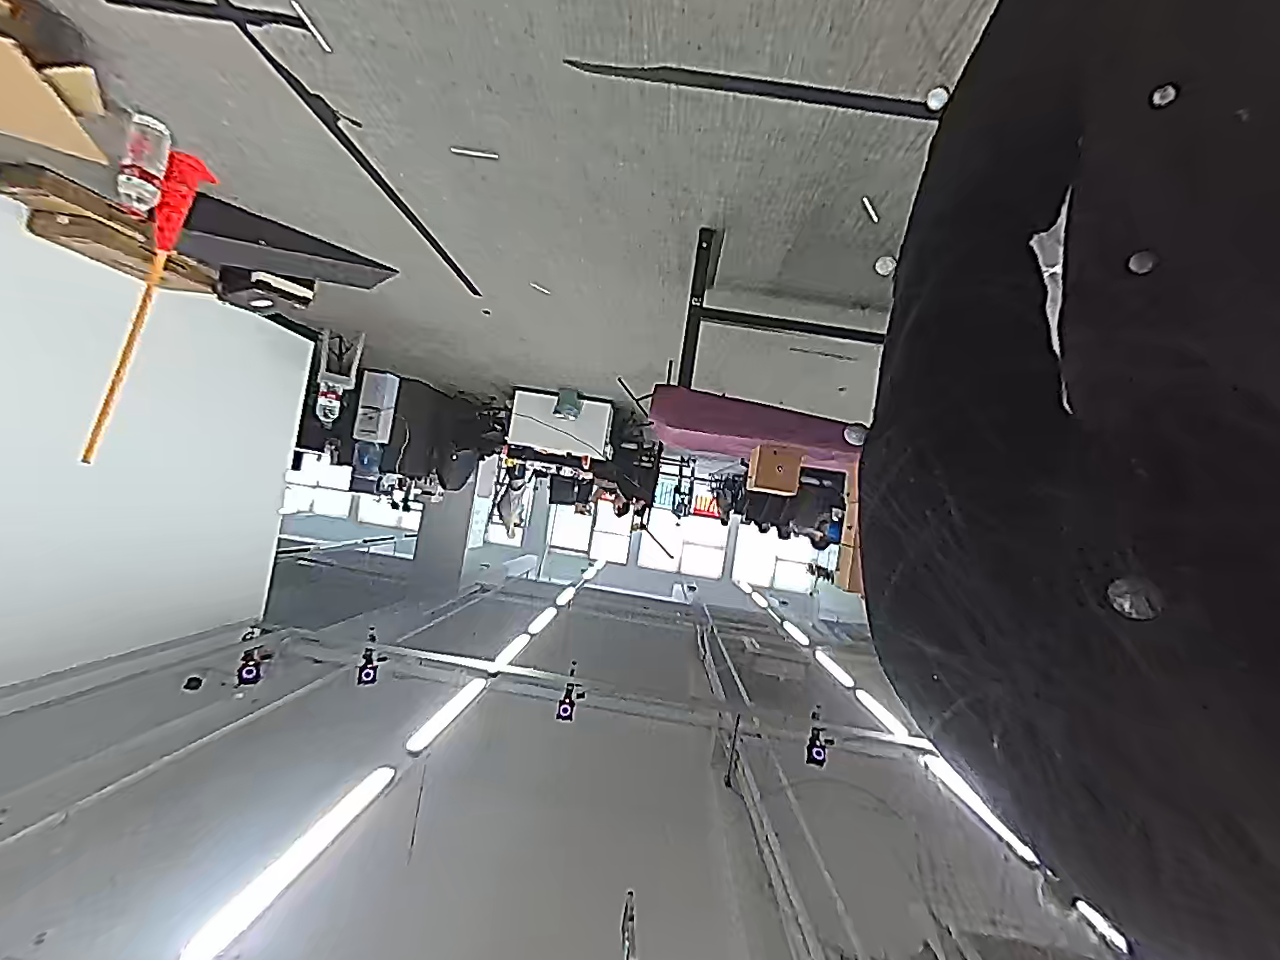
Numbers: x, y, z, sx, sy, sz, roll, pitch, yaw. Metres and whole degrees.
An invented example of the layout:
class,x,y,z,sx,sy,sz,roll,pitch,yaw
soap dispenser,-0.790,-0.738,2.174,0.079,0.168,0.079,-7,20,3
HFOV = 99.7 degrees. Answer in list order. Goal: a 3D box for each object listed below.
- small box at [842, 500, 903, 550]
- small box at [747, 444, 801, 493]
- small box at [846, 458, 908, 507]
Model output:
class,x,y,z,sx,sy,sz,roll,pitch,yaw
small box,0.884,0.169,2.057,0.168,0.176,0.179,9,178,7
small box,0.531,-0.046,2.136,0.168,0.176,0.179,9,178,2
small box,0.914,0.009,2.084,0.168,0.176,0.179,9,178,3
